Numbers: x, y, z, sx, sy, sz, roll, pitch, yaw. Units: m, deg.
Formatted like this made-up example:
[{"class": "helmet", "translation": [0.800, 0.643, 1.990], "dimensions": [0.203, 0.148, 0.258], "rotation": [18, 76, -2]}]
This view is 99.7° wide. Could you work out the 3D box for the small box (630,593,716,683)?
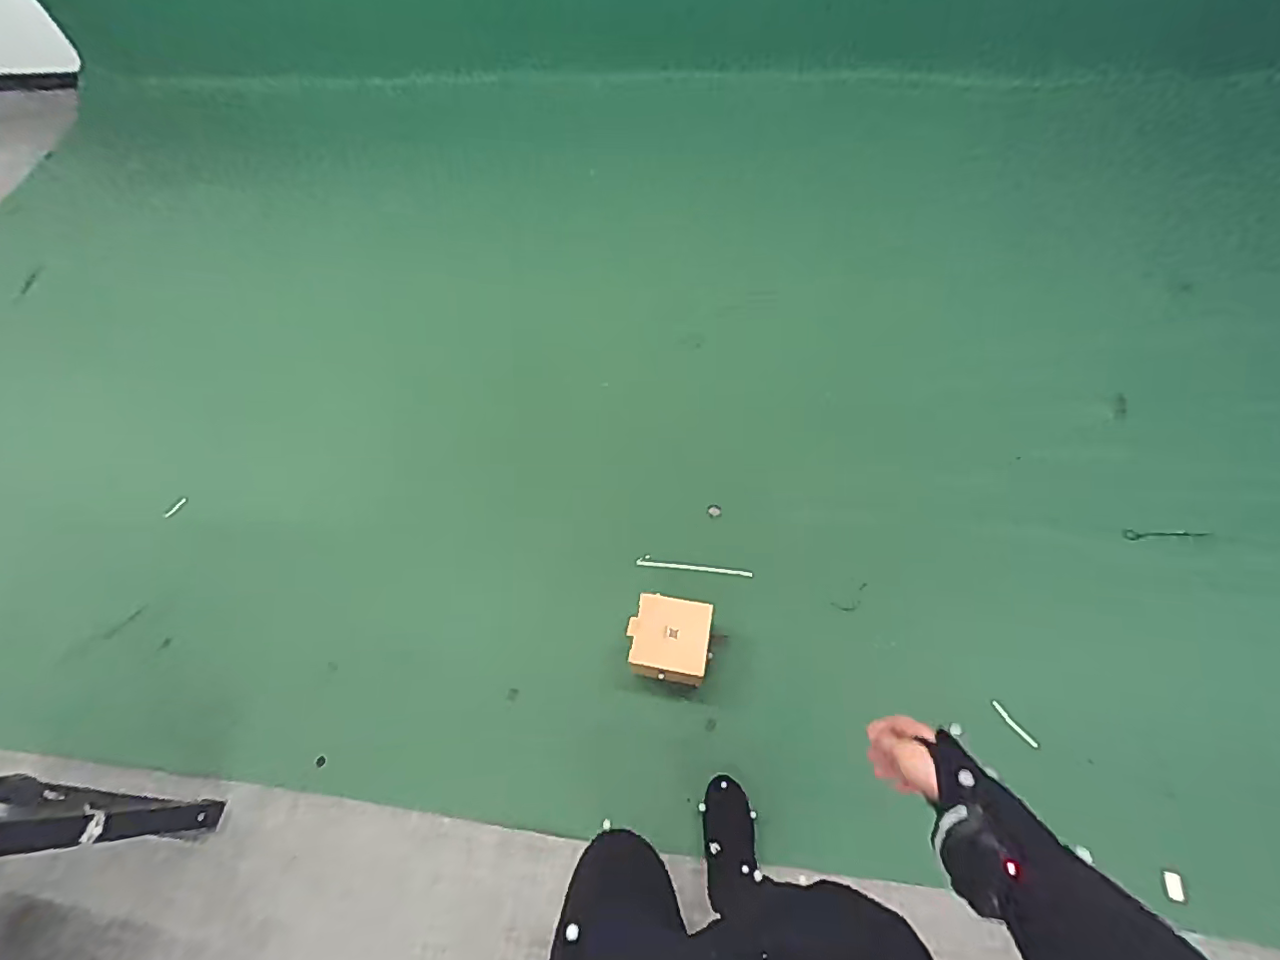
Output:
[{"class": "small box", "translation": [0.083, 0.389, 1.310], "dimensions": [0.179, 0.176, 0.168], "rotation": [8, 64, 9]}]
